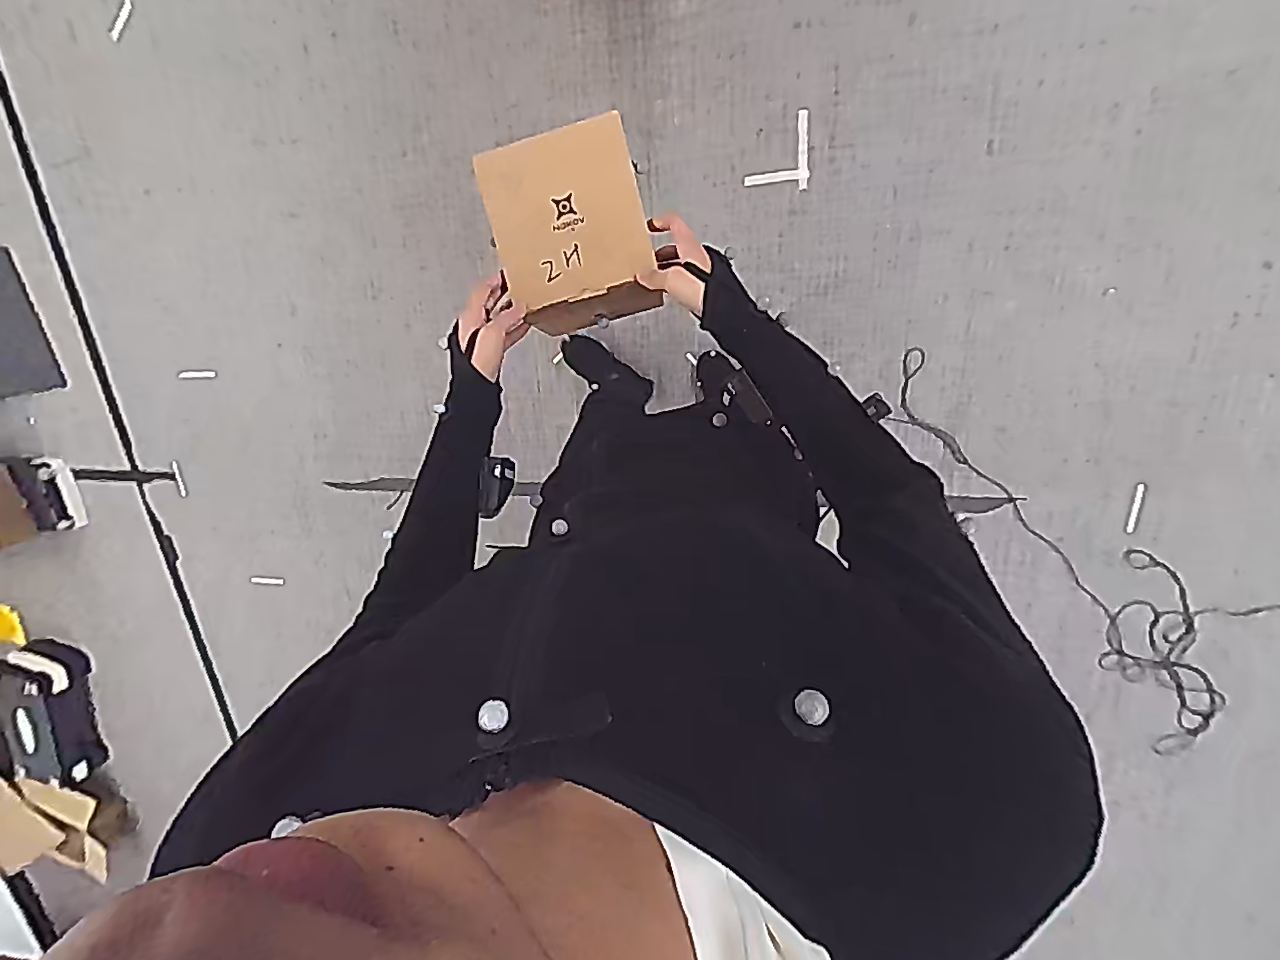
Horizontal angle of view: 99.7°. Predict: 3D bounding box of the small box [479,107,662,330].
[{"bbox_3d":[-0.071,-0.297,0.655,0.168,0.176,0.179,-13,96,5],"label":"small box"}]
